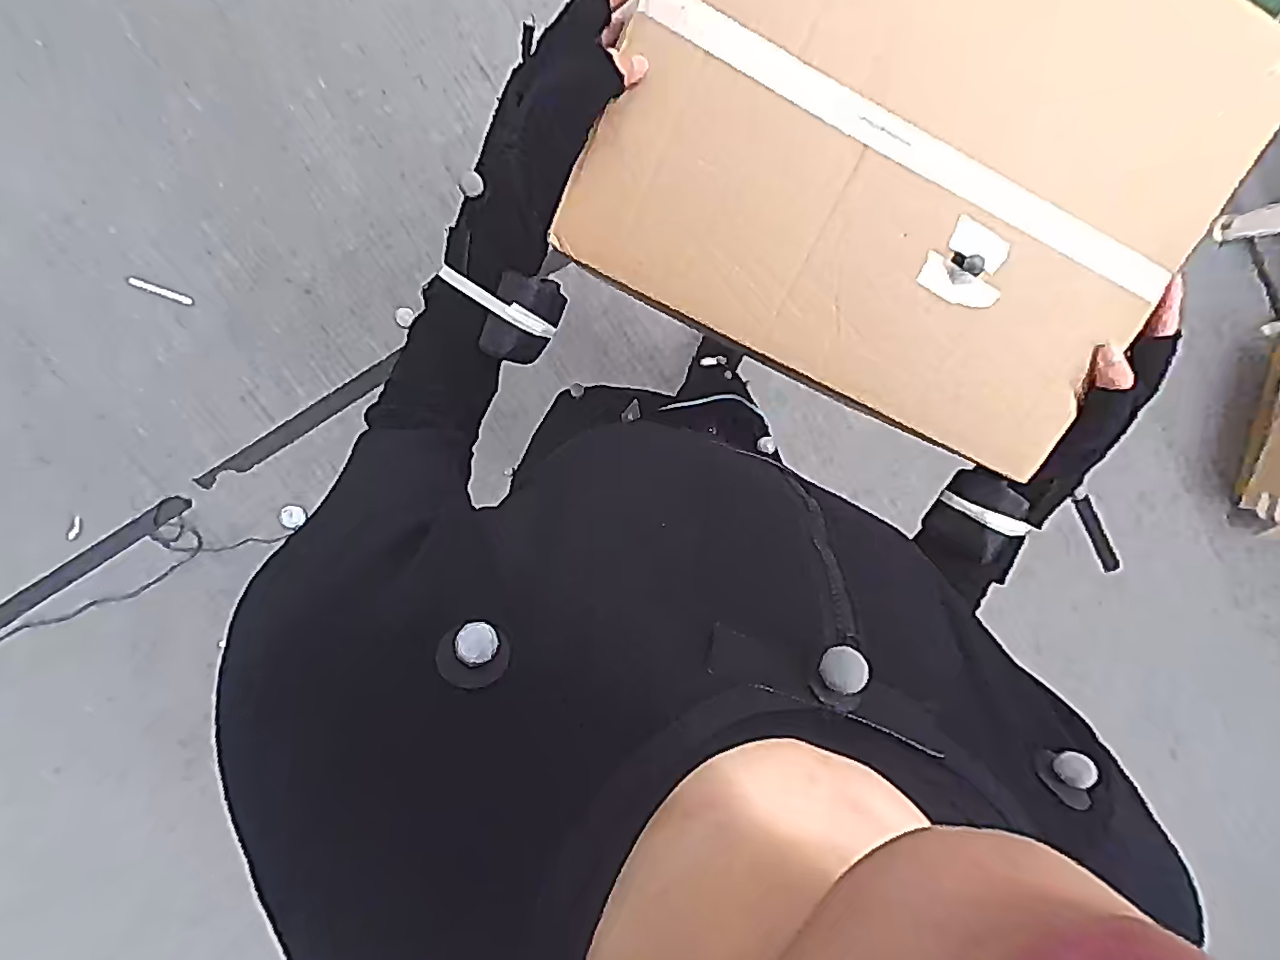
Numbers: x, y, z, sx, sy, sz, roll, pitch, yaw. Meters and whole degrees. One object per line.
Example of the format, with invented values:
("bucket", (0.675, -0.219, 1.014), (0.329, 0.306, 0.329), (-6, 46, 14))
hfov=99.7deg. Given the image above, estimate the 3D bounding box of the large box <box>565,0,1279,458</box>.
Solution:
("large box", (0.183, -0.270, 0.513), (0.408, 0.320, 0.320), (25, 106, -8))
